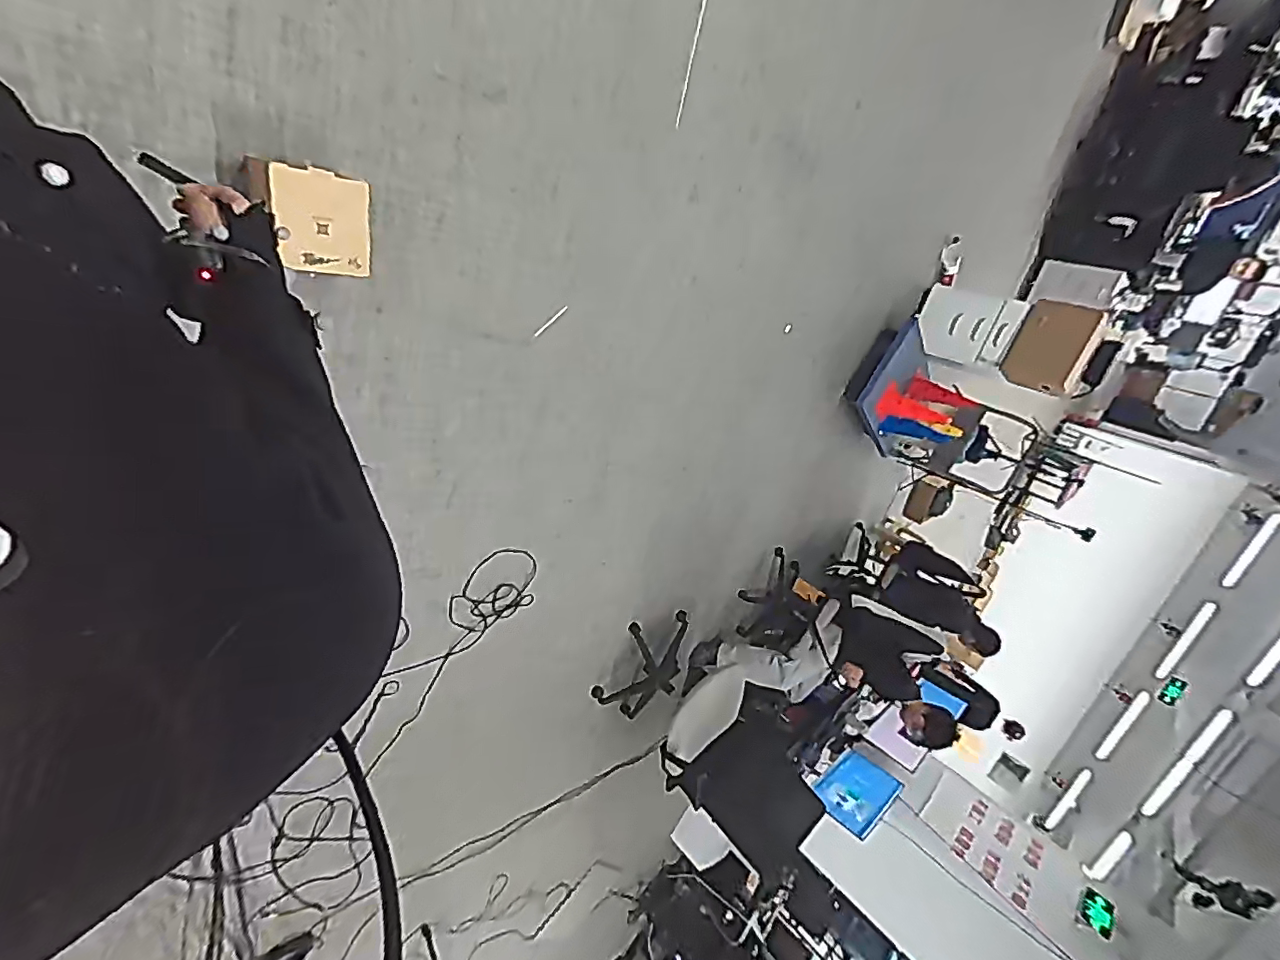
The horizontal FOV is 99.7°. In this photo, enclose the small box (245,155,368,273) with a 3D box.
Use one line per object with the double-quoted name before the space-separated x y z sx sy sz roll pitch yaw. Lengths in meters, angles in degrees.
"small box" -0.647 -0.516 1.052 0.168 0.176 0.179 -12 122 -43
